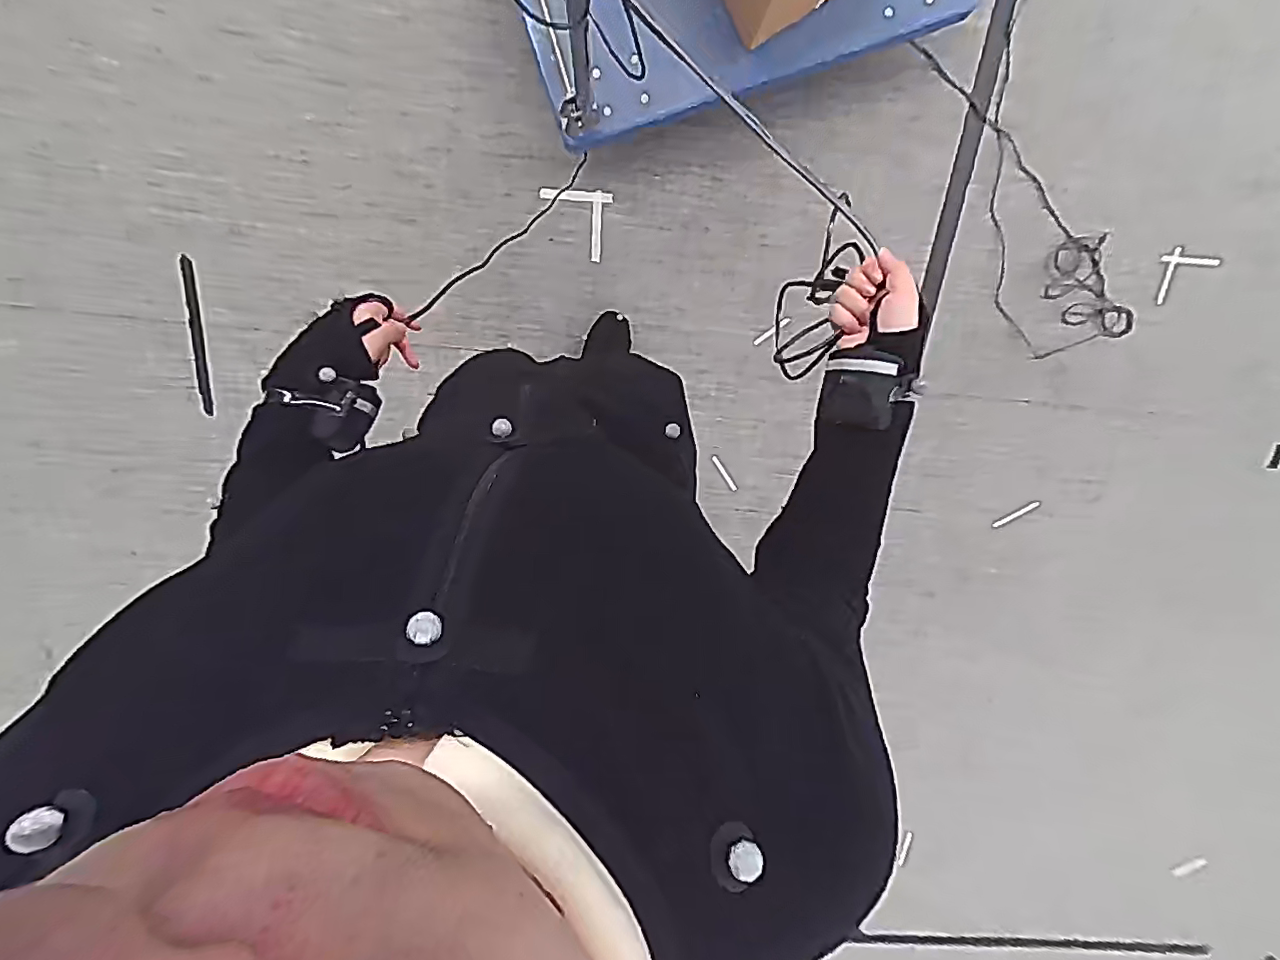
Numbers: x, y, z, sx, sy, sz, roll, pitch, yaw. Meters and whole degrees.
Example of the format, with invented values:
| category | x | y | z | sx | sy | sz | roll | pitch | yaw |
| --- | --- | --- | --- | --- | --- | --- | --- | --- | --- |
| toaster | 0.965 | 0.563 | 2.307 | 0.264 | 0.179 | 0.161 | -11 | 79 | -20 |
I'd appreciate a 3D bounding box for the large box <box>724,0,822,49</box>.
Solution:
| category | x | y | z | sx | sy | sz | roll | pitch | yaw |
| --- | --- | --- | --- | --- | --- | --- | --- | --- | --- |
| large box | 0.240 | -1.038 | 0.856 | 0.320 | 0.320 | 0.408 | -31 | 106 | 9 |
